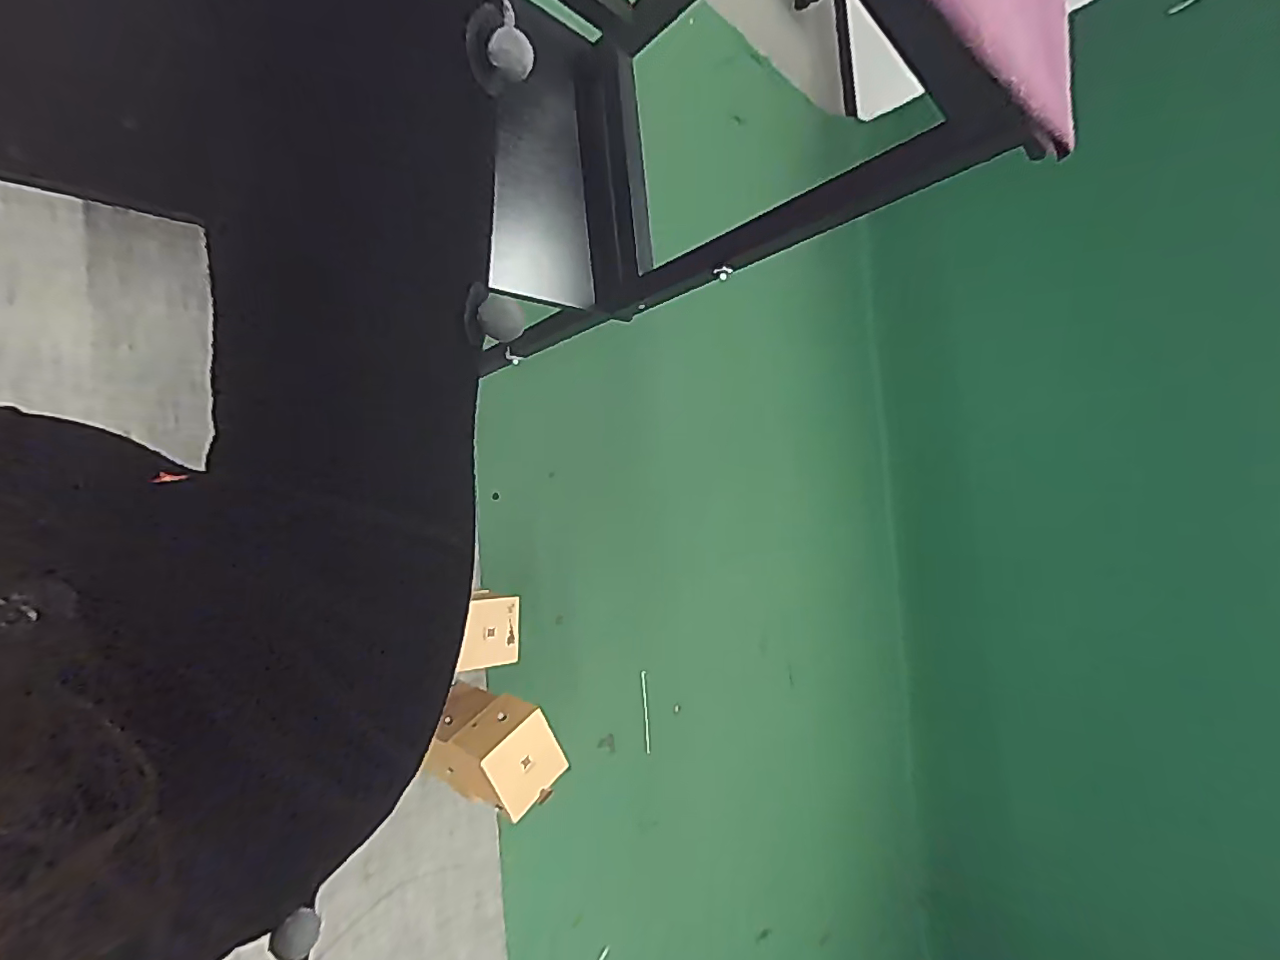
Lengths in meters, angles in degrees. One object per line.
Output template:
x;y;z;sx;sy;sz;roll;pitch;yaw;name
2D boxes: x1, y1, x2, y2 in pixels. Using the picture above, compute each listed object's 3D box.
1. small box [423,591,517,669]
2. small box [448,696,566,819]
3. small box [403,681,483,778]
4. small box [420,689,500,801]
-0.433;0.372;1.372;0.179;0.176;0.168;7;81;-44;small box
-0.309;0.623;1.243;0.168;0.176;0.179;-35;110;-39;small box
-0.528;0.669;1.480;0.168;0.176;0.179;-12;95;-44;small box
-0.423;0.650;1.357;0.168;0.176;0.179;-29;107;-40;small box
